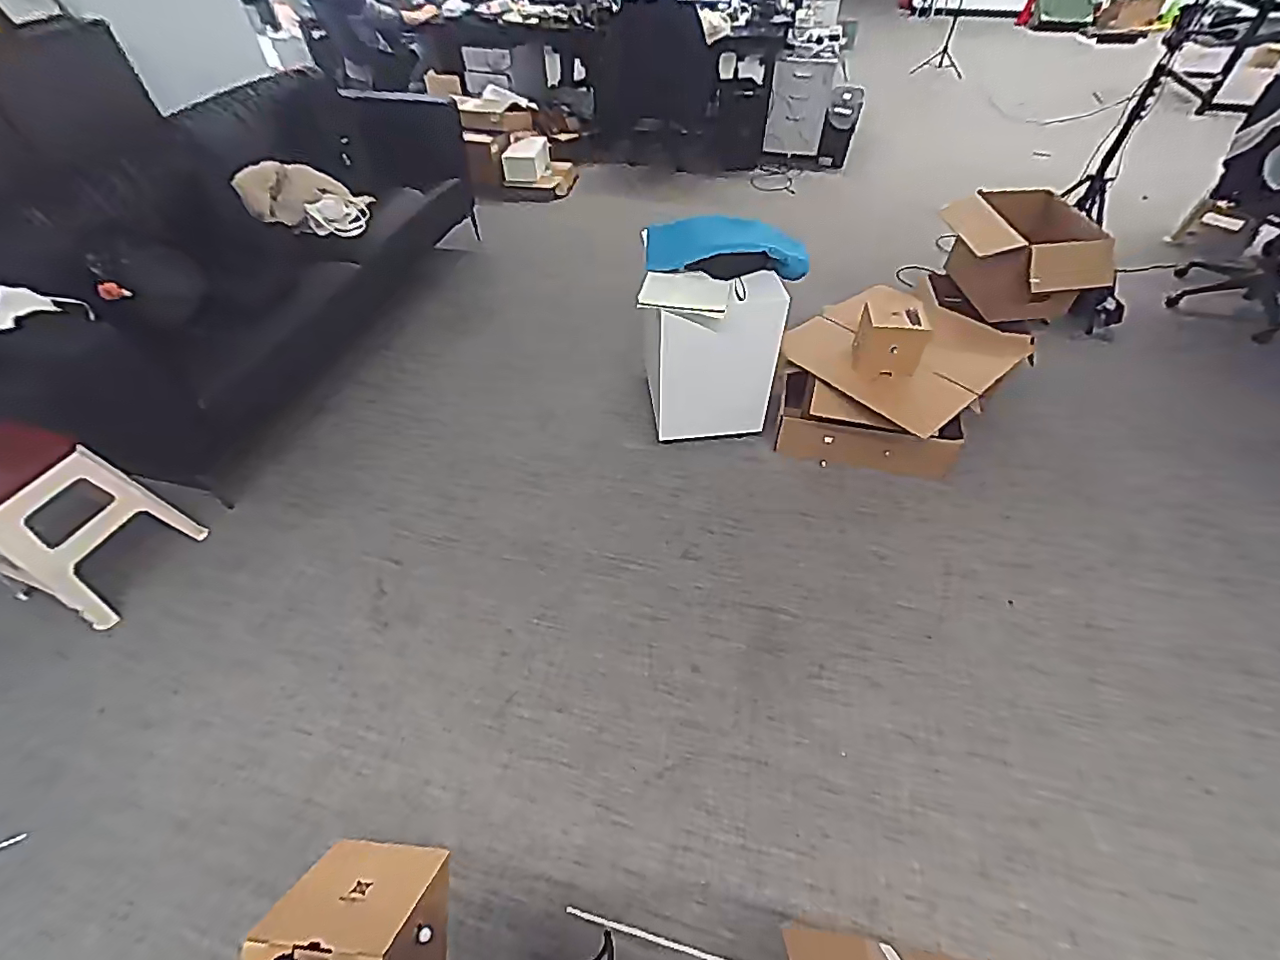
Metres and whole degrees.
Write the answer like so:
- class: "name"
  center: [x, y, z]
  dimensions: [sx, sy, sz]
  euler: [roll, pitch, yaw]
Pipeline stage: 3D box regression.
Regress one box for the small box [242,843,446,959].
- class: "small box"
  center: [-0.362, 0.600, 0.674]
  dimensions: [0.168, 0.179, 0.176]
  euler: [3, 89, 4]
